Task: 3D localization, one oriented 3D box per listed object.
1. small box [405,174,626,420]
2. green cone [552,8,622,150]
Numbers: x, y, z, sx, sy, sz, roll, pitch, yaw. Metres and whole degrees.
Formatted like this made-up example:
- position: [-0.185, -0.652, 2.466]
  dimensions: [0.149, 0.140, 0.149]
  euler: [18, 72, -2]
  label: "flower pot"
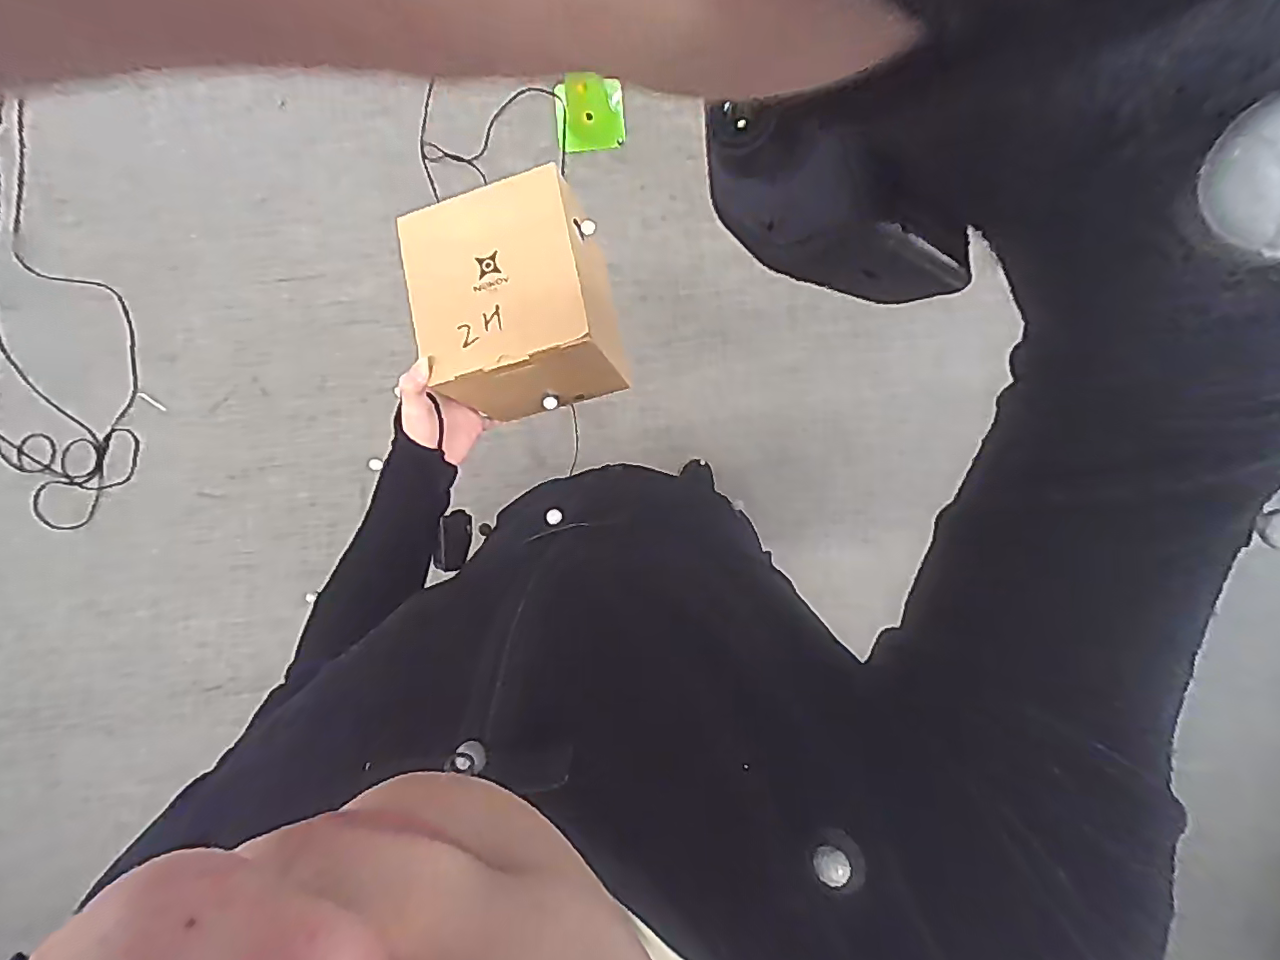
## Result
- position: [-0.122, -0.180, 0.584]
  dimensions: [0.168, 0.176, 0.179]
  euler: [-13, 83, 10]
  label: "small box"
- position: [-0.165, -1.089, 1.435]
  dimensions: [0.202, 0.368, 0.200]
  euler: [-5, 91, 3]
  label: "green cone"
